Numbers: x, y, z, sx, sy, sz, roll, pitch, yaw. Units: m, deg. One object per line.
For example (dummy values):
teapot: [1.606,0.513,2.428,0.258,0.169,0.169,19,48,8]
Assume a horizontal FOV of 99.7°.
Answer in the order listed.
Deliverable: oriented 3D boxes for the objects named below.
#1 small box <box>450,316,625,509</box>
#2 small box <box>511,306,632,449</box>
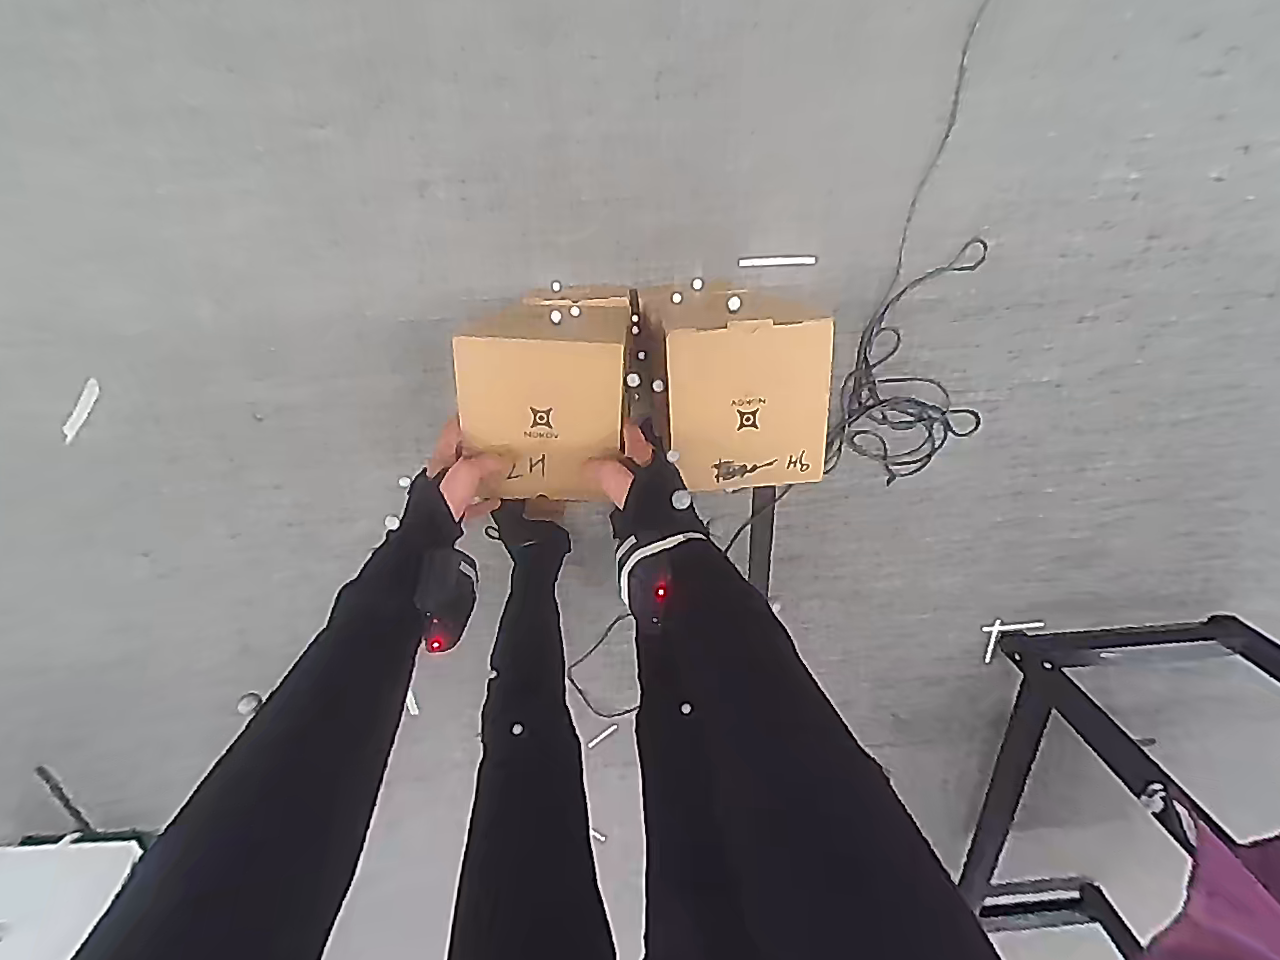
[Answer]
small box: [-0.104,-0.085,0.615,0.168,0.176,0.179,3,116,-1]
small box: [-0.101,-0.151,0.767,0.179,0.176,0.168,1,115,0]
